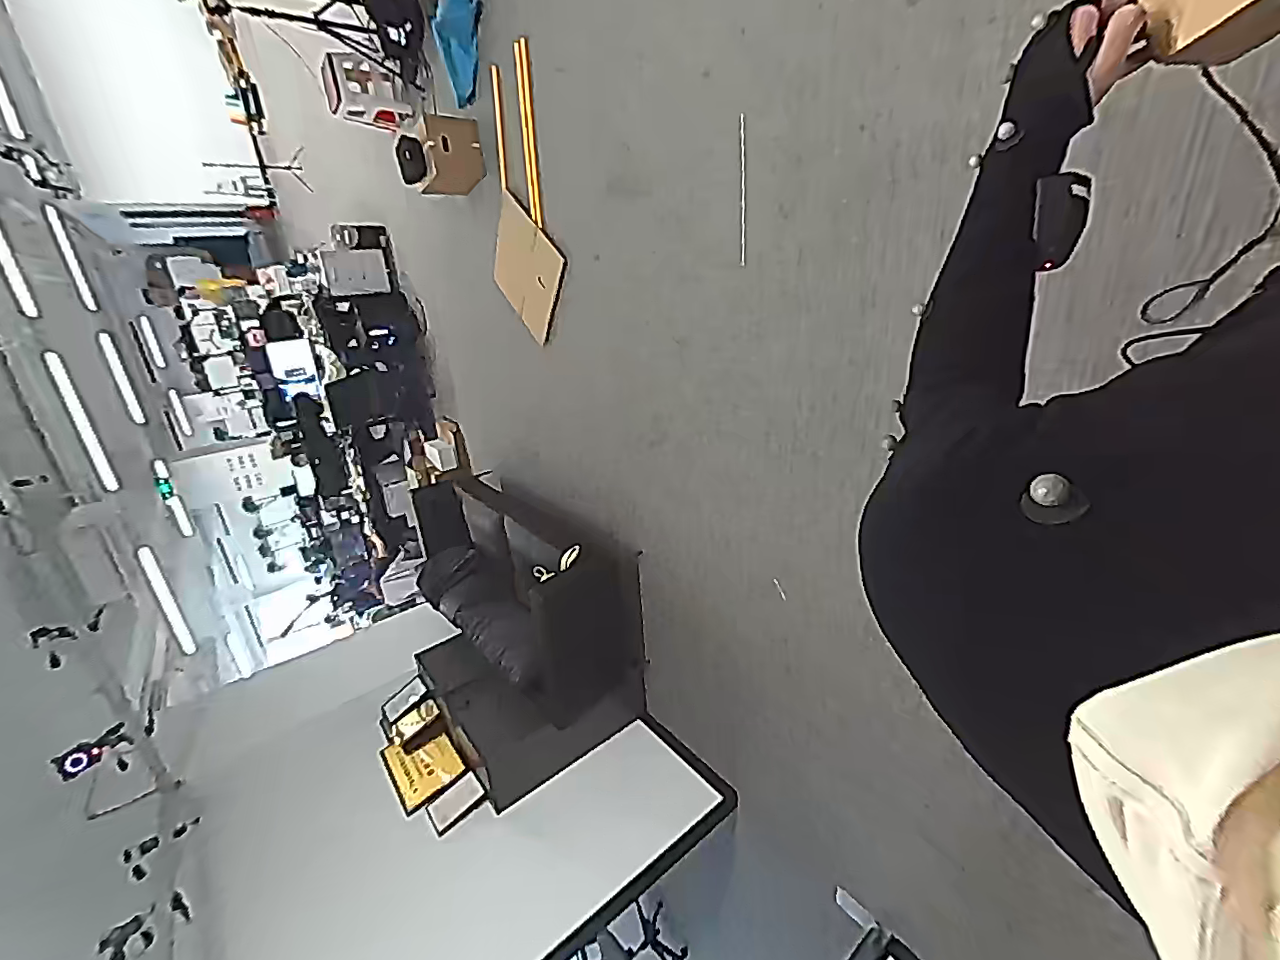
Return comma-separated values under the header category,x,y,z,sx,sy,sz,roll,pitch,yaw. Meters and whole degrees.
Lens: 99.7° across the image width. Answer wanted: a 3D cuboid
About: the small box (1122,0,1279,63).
category,x,y,z,sx,sy,sz,roll,pitch,yaw
small box,0.491,-0.452,0.400,0.179,0.176,0.168,-18,94,64
